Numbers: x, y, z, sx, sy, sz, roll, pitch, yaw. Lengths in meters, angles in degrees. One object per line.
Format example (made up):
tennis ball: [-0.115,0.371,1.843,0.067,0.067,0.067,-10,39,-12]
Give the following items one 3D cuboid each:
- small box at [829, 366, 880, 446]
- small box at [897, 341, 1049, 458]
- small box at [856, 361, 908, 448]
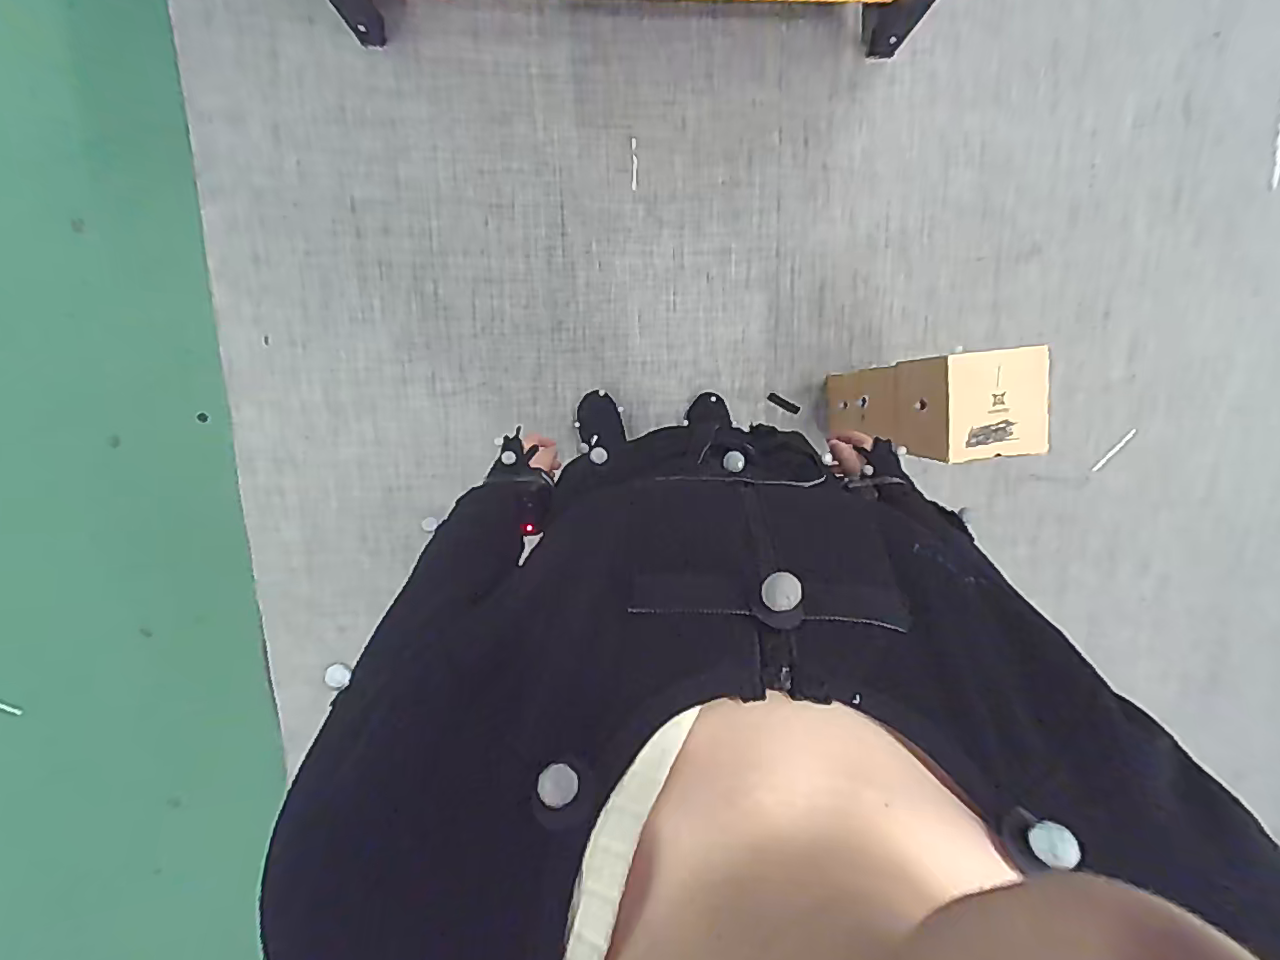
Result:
small box: [0.555,-0.179,1.266,0.168,0.176,0.179,-6,99,-1]
small box: [0.567,-0.140,0.941,0.168,0.176,0.179,-6,98,-1]
small box: [0.564,-0.163,1.104,0.179,0.176,0.168,-7,98,0]
